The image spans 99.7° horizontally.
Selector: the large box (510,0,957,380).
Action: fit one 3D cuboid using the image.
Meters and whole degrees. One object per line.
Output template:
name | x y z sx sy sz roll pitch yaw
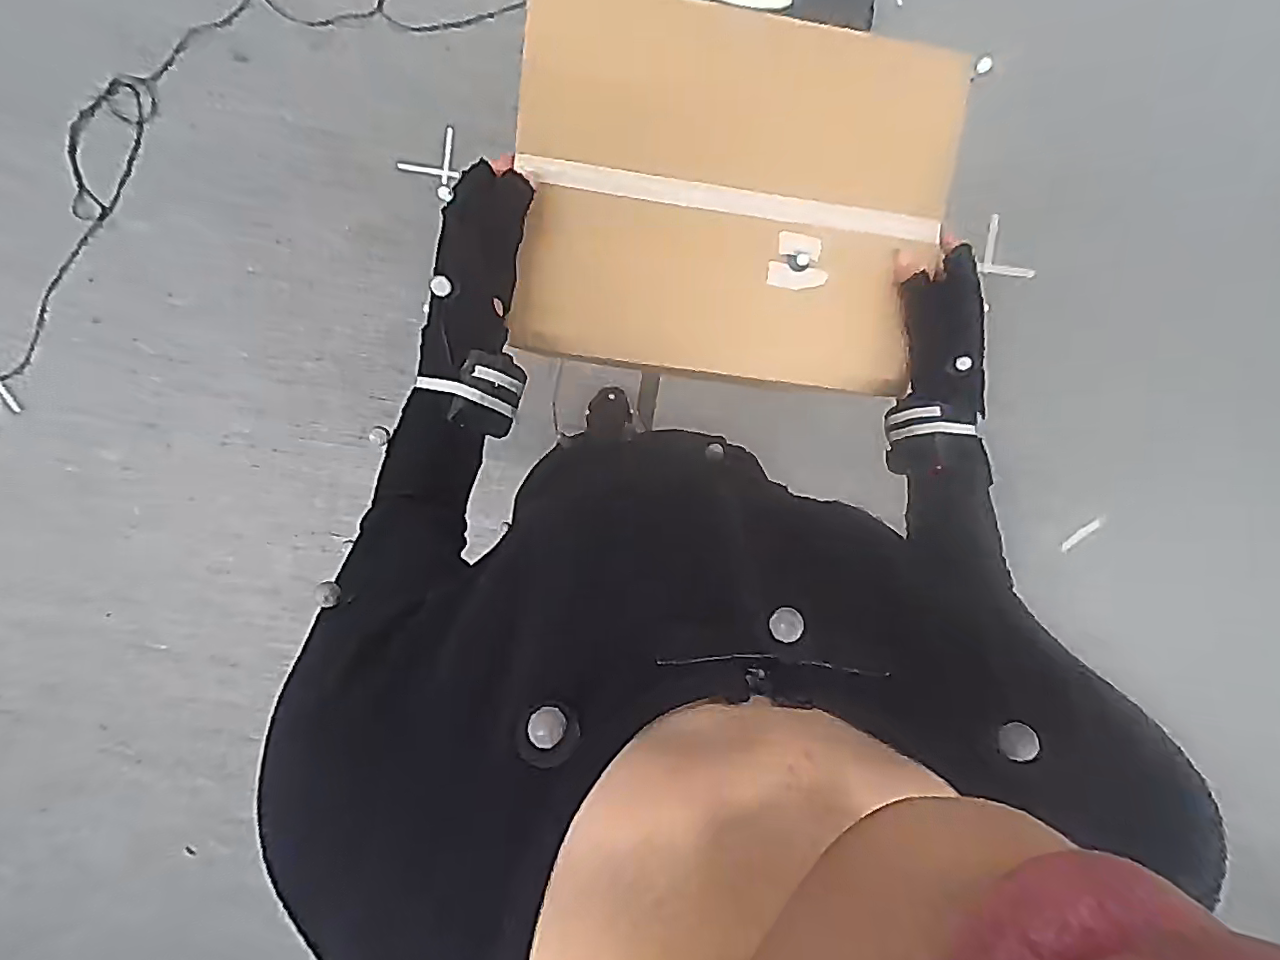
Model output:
large box | 0.071 -0.295 0.653 0.408 0.320 0.320 5 101 -6
